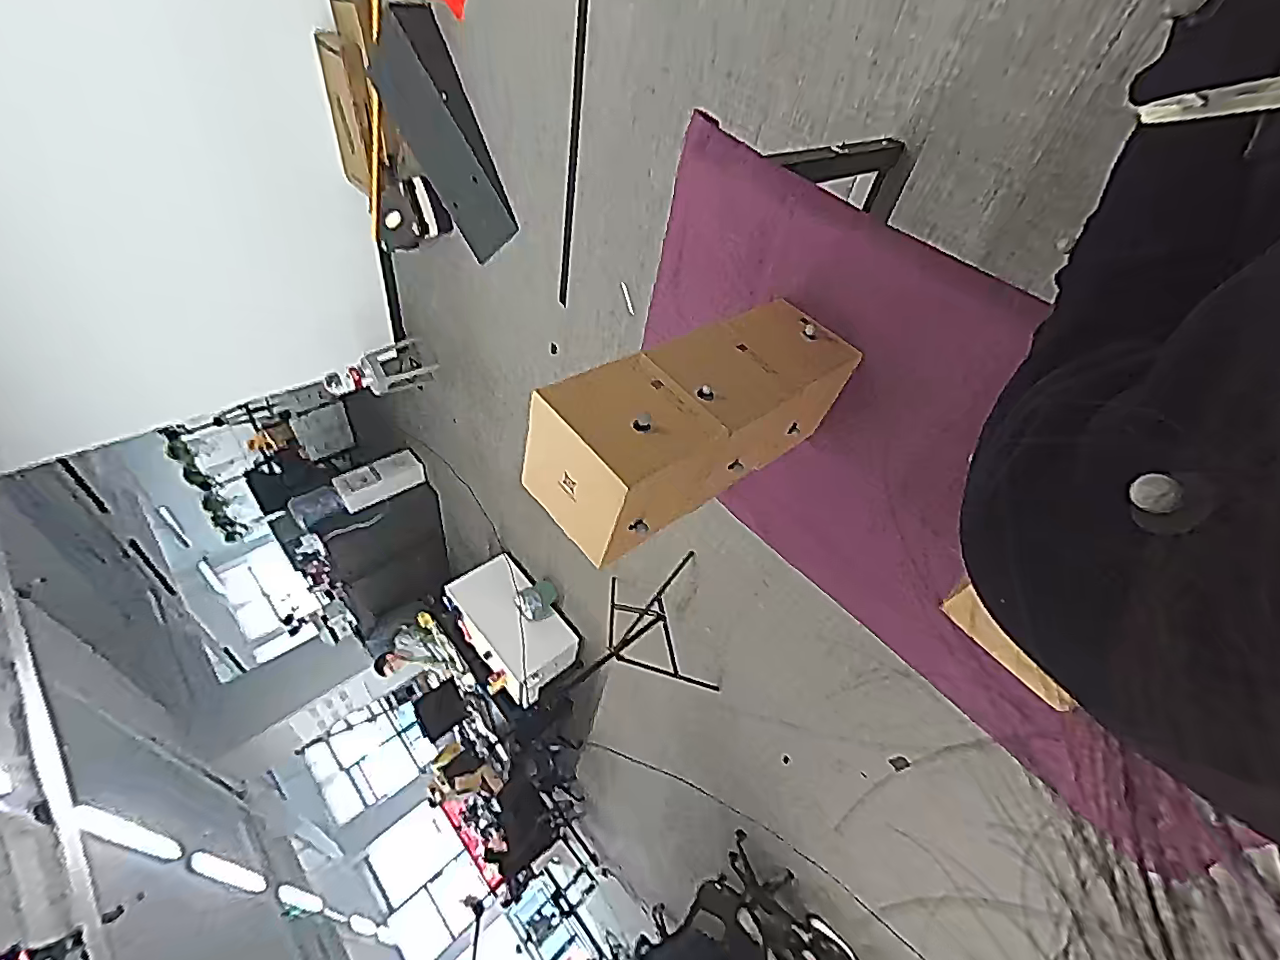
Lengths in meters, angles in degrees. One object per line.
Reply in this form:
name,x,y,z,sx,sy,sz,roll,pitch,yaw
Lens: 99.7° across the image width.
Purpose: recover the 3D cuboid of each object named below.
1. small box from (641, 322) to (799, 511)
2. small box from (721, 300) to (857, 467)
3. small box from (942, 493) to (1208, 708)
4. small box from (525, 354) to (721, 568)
small box,0.094,-0.093,0.774,0.168,0.176,0.179,46,145,20
small box,0.212,-0.158,0.867,0.168,0.176,0.179,44,143,22
small box,0.530,0.137,0.670,0.179,0.176,0.168,45,144,21
small box,-0.023,-0.030,0.679,0.168,0.176,0.179,45,144,20
